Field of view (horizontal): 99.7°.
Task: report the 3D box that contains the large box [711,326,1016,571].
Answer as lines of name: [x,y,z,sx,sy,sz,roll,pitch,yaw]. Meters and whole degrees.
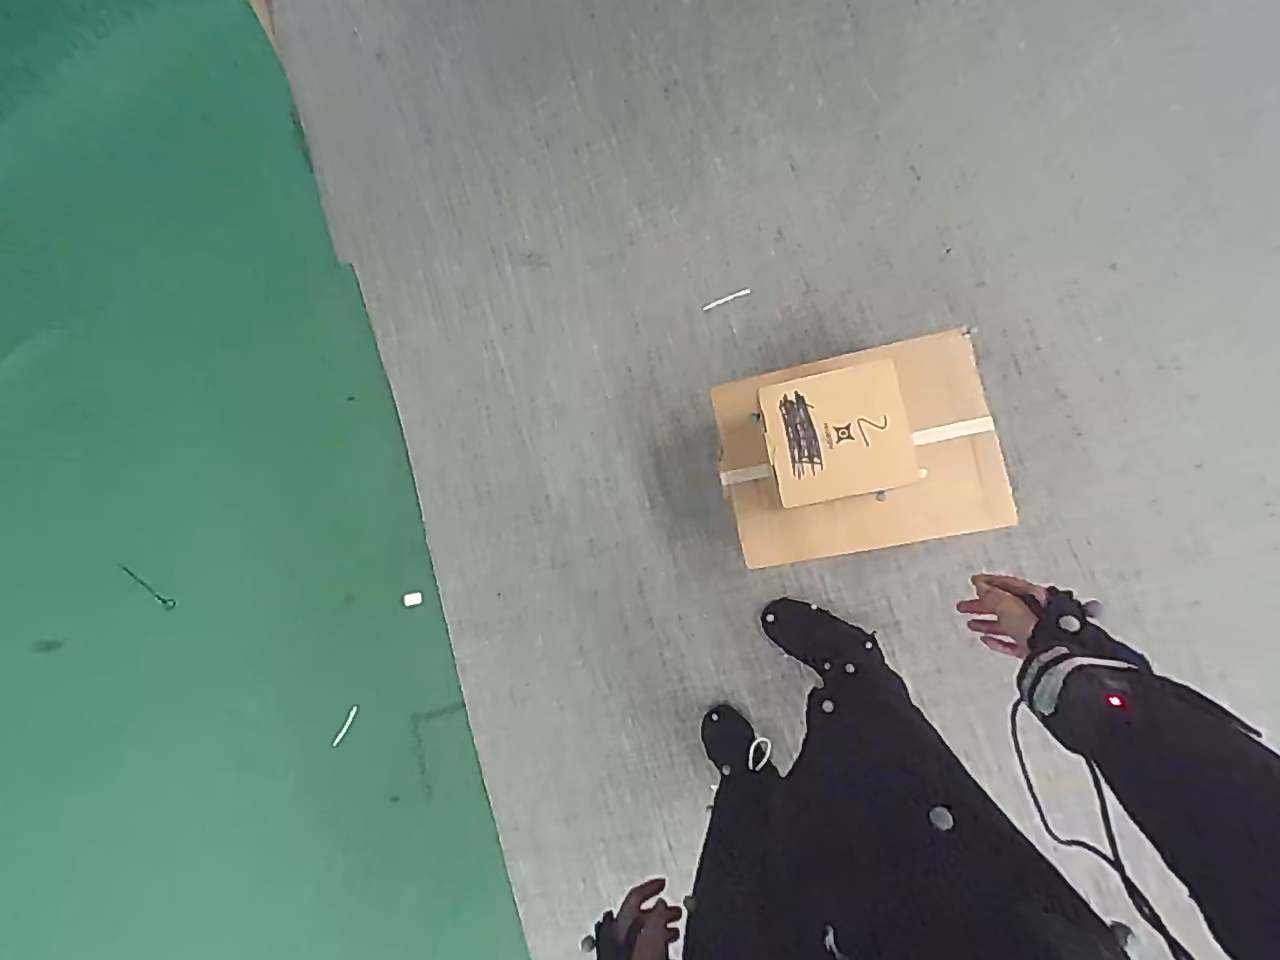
large box: [0.368,-0.034,0.997,0.408,0.320,0.320,-13,84,11]
